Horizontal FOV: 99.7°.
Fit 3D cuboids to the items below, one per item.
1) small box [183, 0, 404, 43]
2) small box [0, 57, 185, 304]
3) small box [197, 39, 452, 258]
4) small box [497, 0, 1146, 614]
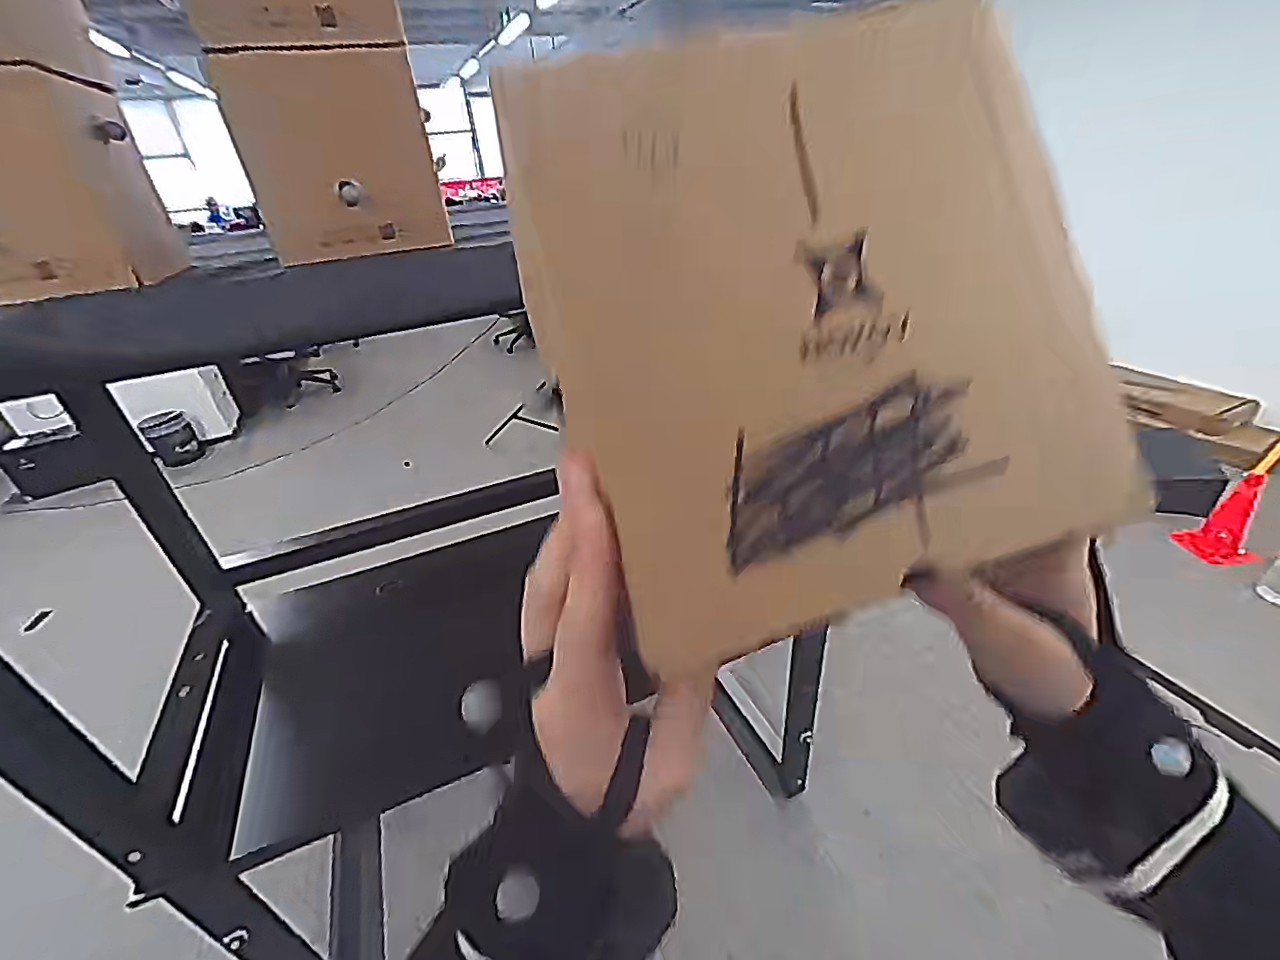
[{"bbox_3d":[-0.320,-0.478,0.485,0.168,0.176,0.179,-15,32,-17],"label":"small box"},{"bbox_3d":[-0.555,-0.259,0.484,0.168,0.176,0.179,-16,32,-19],"label":"small box"},{"bbox_3d":[-0.306,-0.335,0.566,0.168,0.176,0.179,-16,32,-16],"label":"small box"},{"bbox_3d":[0.048,-0.063,0.237,0.168,0.179,0.176,-15,0,-9],"label":"small box"}]
